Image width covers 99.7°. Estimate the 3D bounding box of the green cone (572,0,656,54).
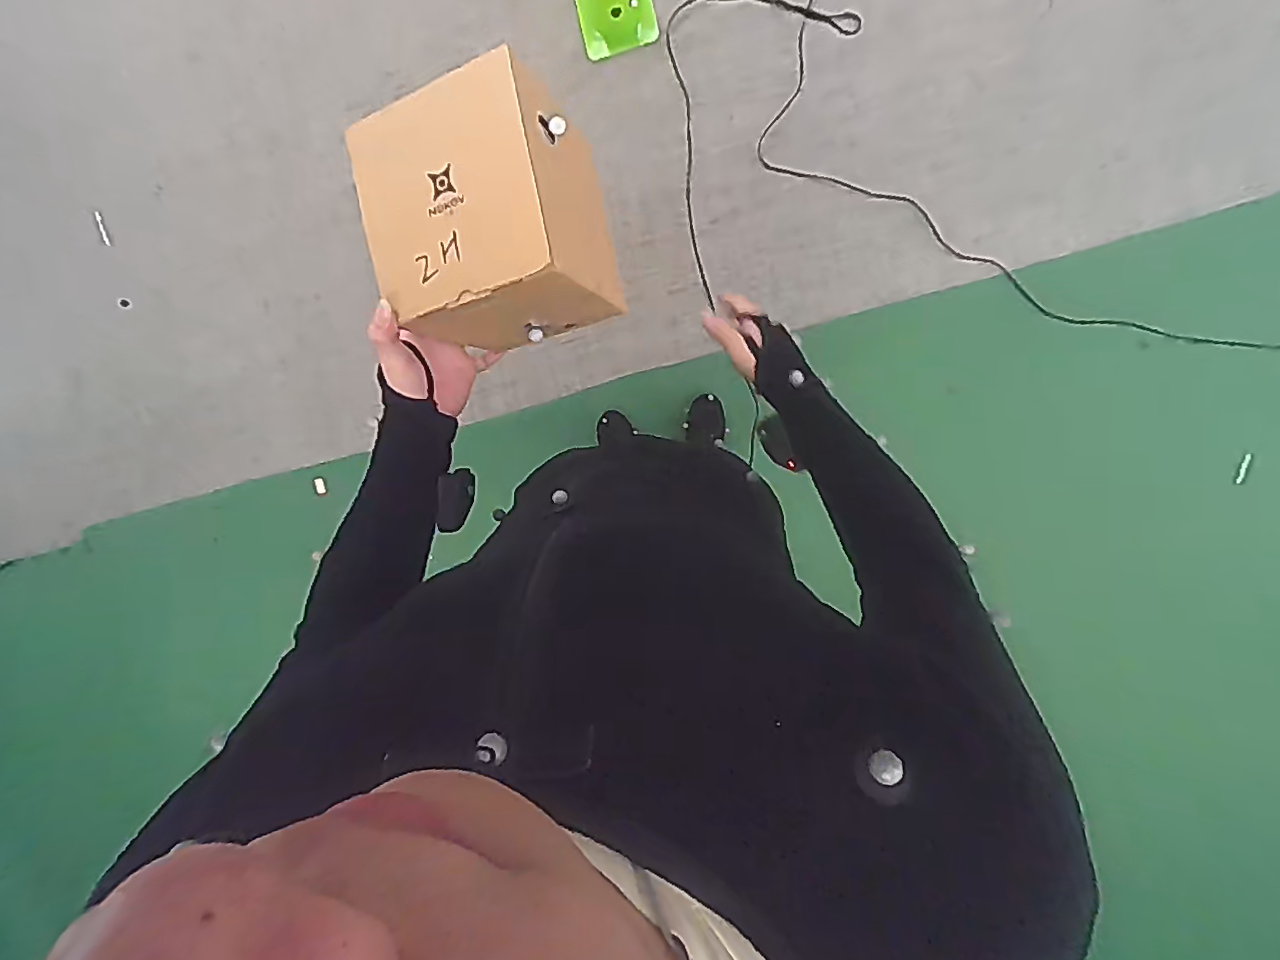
[{"bbox_3d":[-0.085,-1.223,1.255,0.202,0.368,0.200,-13,98,6],"label":"green cone"}]
